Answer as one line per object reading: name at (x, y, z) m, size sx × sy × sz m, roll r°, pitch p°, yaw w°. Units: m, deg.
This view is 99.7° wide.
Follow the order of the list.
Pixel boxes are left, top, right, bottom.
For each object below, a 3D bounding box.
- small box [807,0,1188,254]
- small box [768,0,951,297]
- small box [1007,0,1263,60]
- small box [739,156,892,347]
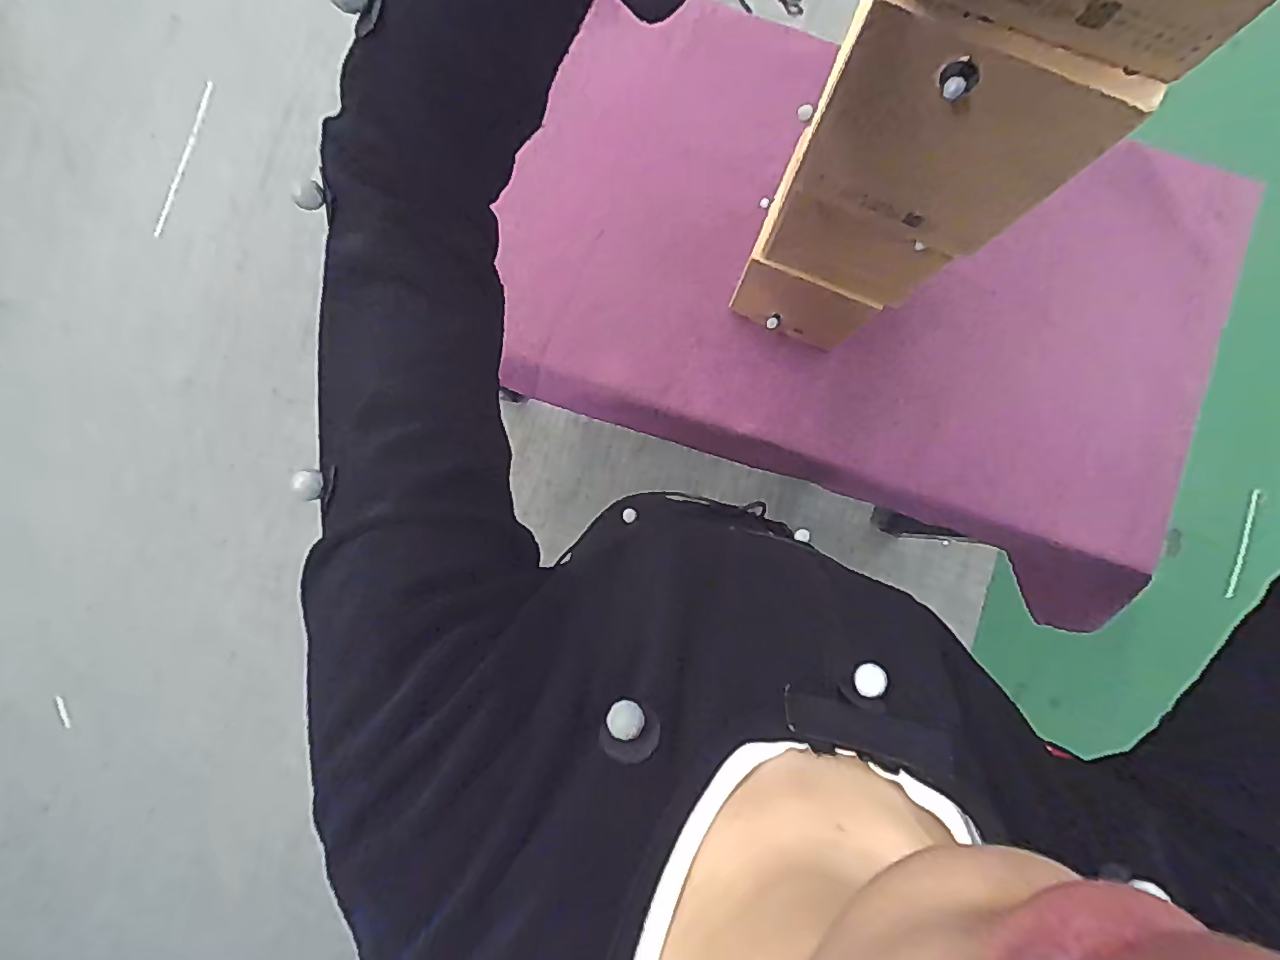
small box at (0.239, -0.299, 0.376) m, size 0.168 × 0.176 × 0.179 m, roll 24°, pitch 86°, yaw 2°
small box at (0.248, -0.310, 0.541) m, size 0.179 × 0.176 × 0.168 m, roll 22°, pitch 87°, yaw 2°
small box at (0.241, -0.325, 0.213) m, size 0.168 × 0.176 × 0.179 m, roll 20°, pitch 85°, yaw 2°
small box at (0.241, -0.301, 0.702) m, size 0.168 × 0.176 × 0.179 m, roll 23°, pitch 87°, yaw 2°
